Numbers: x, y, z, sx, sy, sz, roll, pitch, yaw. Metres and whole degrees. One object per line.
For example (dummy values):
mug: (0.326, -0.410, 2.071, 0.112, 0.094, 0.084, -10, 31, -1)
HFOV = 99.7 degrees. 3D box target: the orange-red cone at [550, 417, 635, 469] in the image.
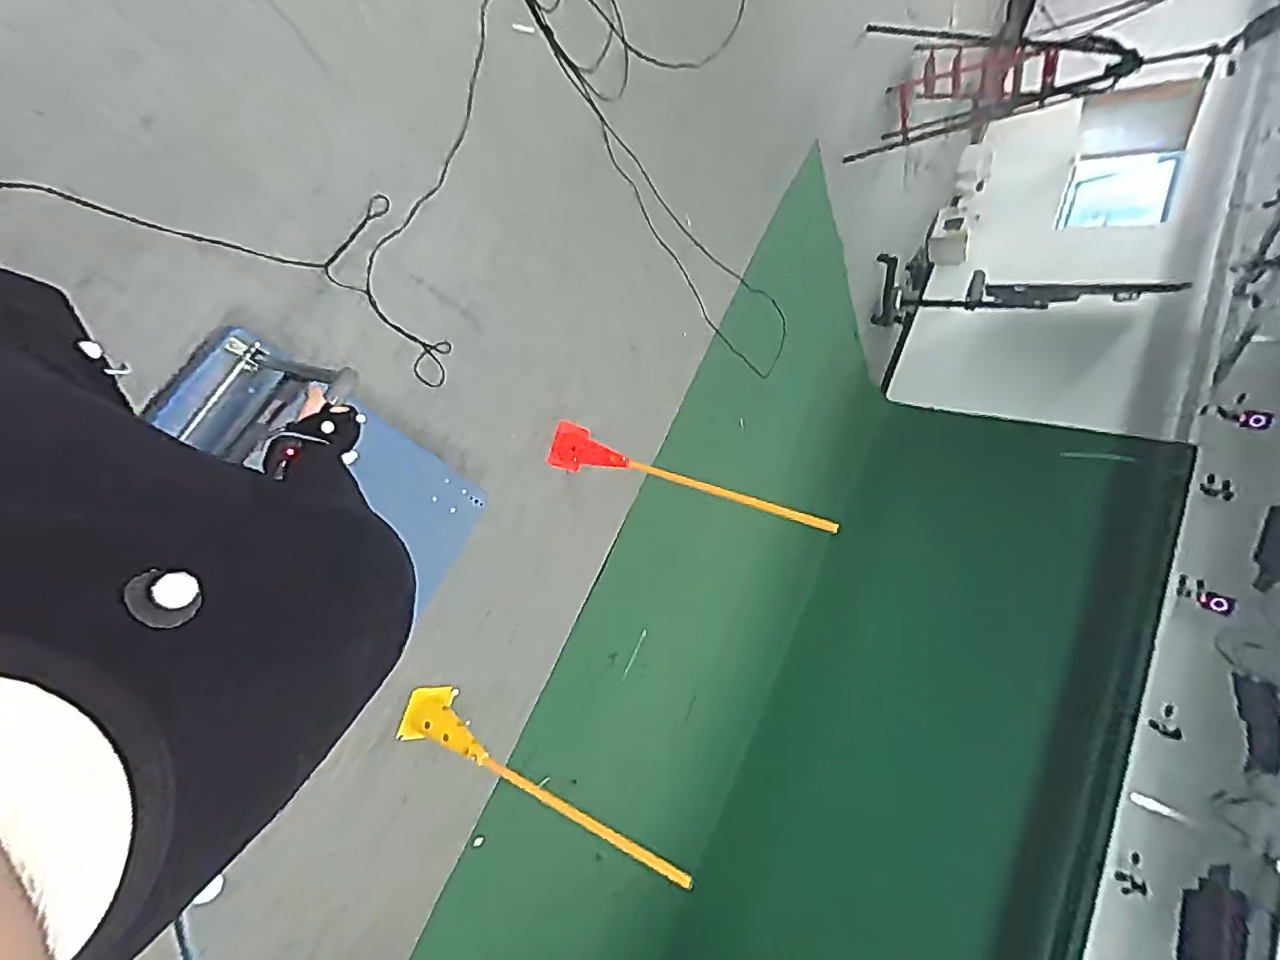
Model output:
orange-red cone: (-0.170, -0.122, 2.254, 0.198, 0.360, 0.199, 19, 87, -55)
